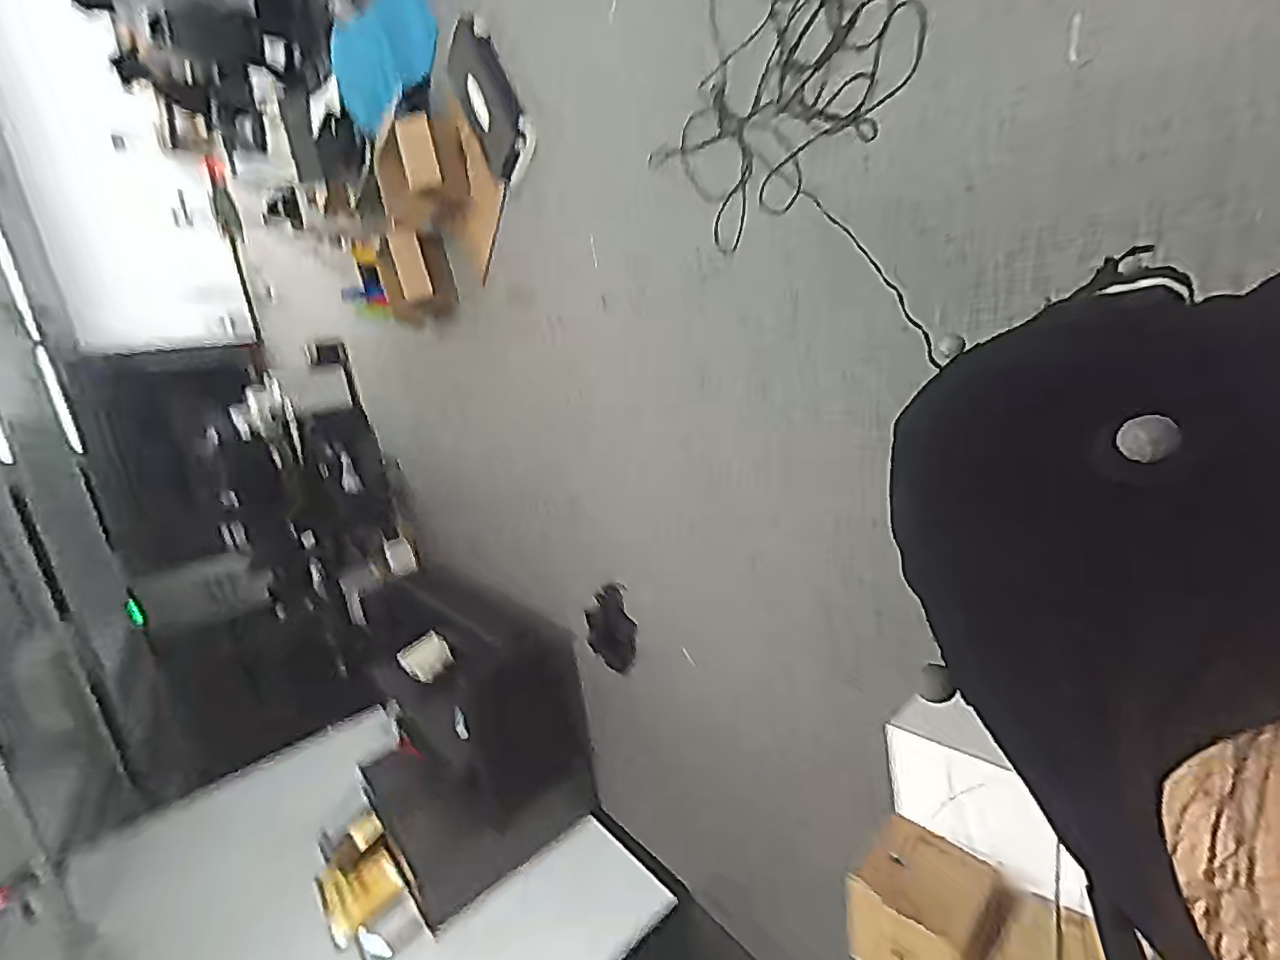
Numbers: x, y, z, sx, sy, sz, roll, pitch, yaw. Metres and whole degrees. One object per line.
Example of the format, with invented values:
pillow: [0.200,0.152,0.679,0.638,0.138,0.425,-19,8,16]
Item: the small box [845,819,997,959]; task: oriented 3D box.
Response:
small box: [0.453,0.703,0.874,0.168,0.176,0.179,9,111,51]
